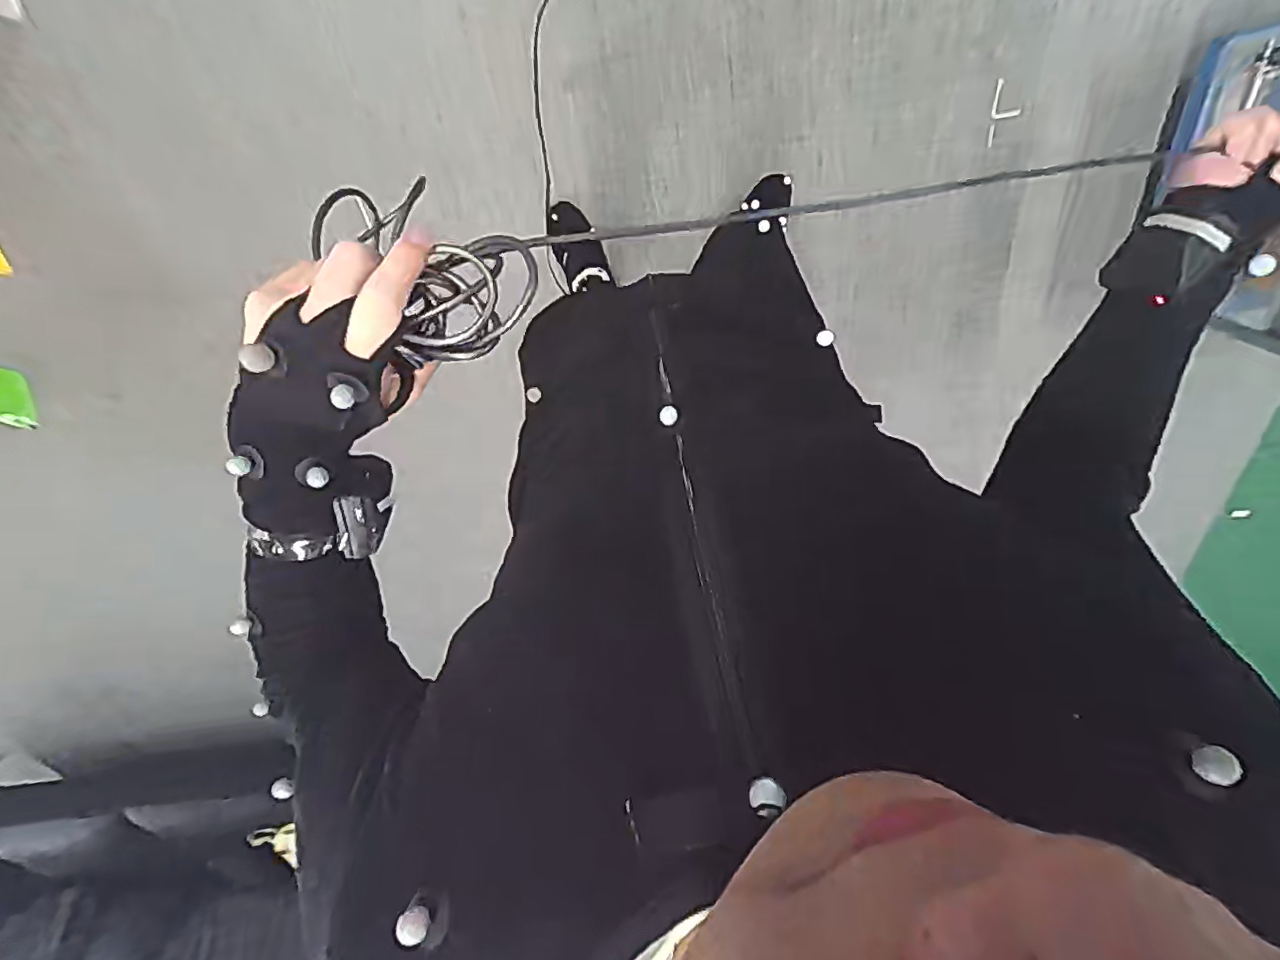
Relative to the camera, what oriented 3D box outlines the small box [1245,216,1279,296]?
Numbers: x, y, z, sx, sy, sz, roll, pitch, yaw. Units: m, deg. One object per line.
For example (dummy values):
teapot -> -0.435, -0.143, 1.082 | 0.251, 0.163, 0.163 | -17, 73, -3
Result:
small box -> 1.492, -0.488, 1.155 | 0.179, 0.176, 0.168 | -6, 123, 6
